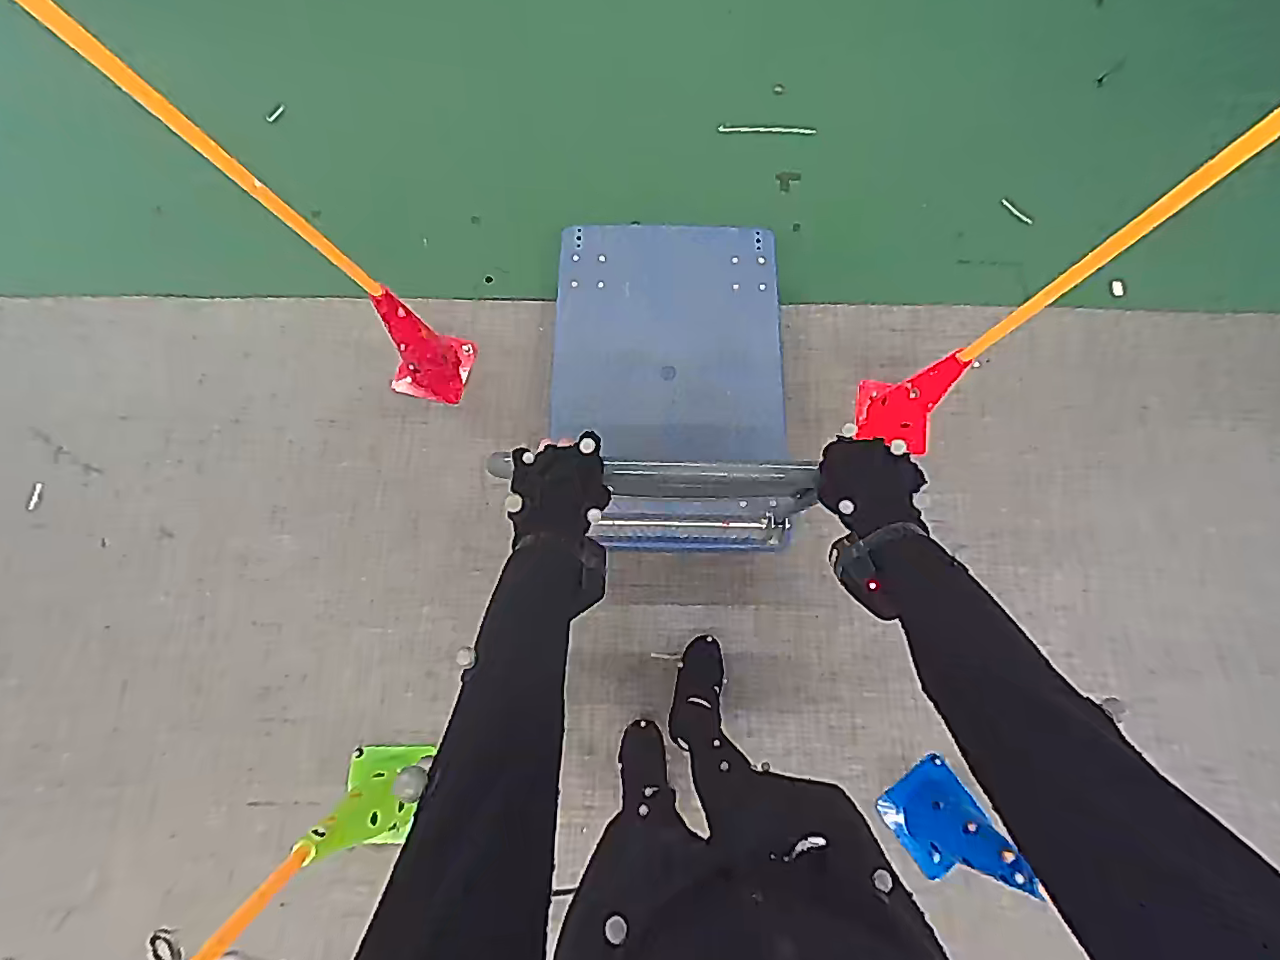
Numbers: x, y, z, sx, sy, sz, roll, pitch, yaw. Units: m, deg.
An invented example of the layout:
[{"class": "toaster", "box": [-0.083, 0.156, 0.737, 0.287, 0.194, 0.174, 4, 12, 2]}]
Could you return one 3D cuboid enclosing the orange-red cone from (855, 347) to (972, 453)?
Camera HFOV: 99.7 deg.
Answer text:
[{"class": "orange-red cone", "box": [0.702, -0.224, 1.337, 0.198, 0.360, 0.199, 12, 75, 4]}]
